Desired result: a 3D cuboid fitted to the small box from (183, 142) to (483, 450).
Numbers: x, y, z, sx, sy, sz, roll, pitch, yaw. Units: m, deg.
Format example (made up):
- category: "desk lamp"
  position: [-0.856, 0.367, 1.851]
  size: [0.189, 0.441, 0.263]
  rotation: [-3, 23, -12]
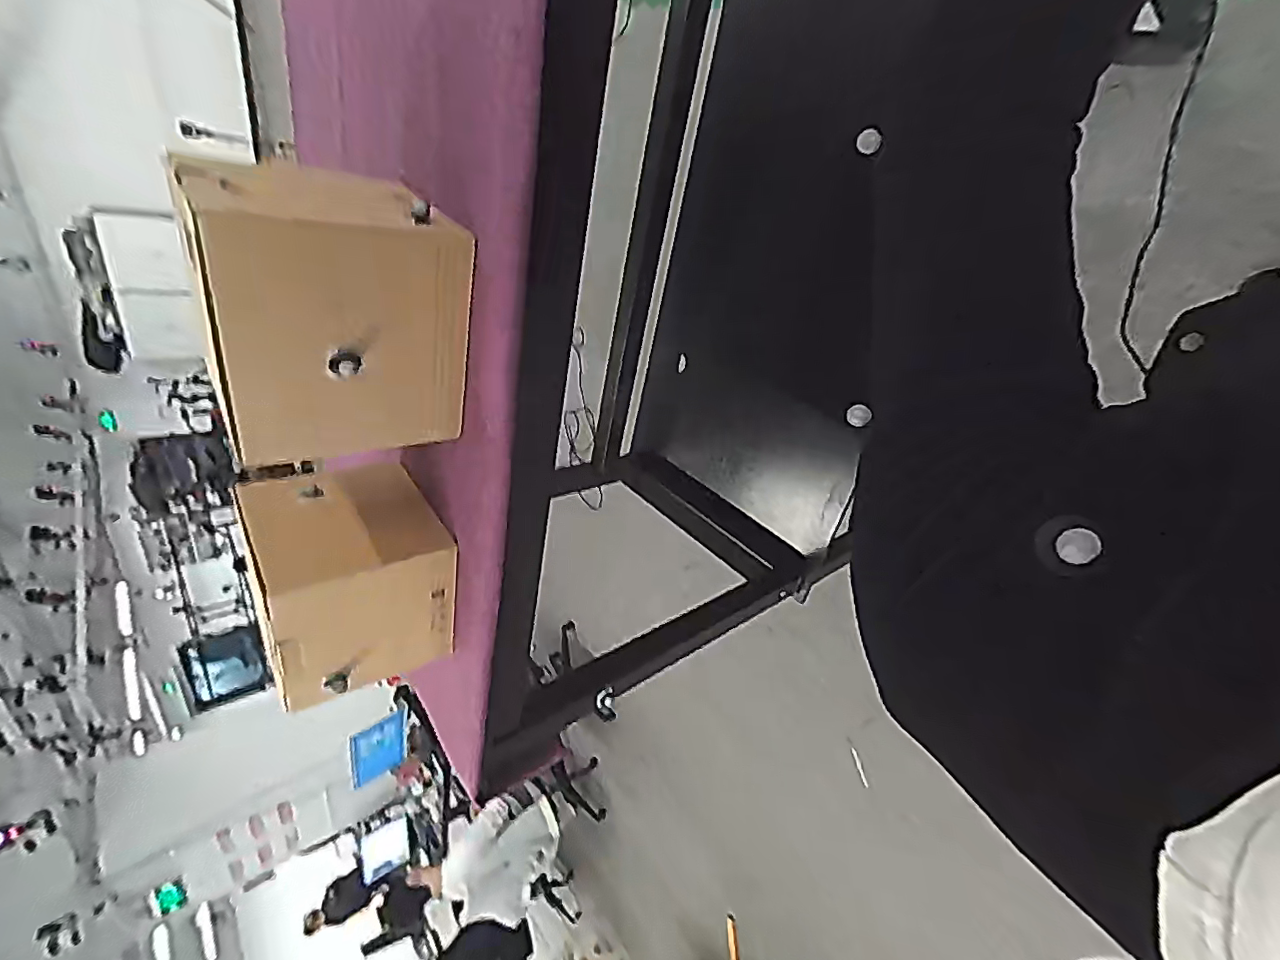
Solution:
- category: "small box"
  position: [-0.244, -0.152, 0.450]
  size: [0.168, 0.176, 0.179]
  rotation: [43, 132, 35]
